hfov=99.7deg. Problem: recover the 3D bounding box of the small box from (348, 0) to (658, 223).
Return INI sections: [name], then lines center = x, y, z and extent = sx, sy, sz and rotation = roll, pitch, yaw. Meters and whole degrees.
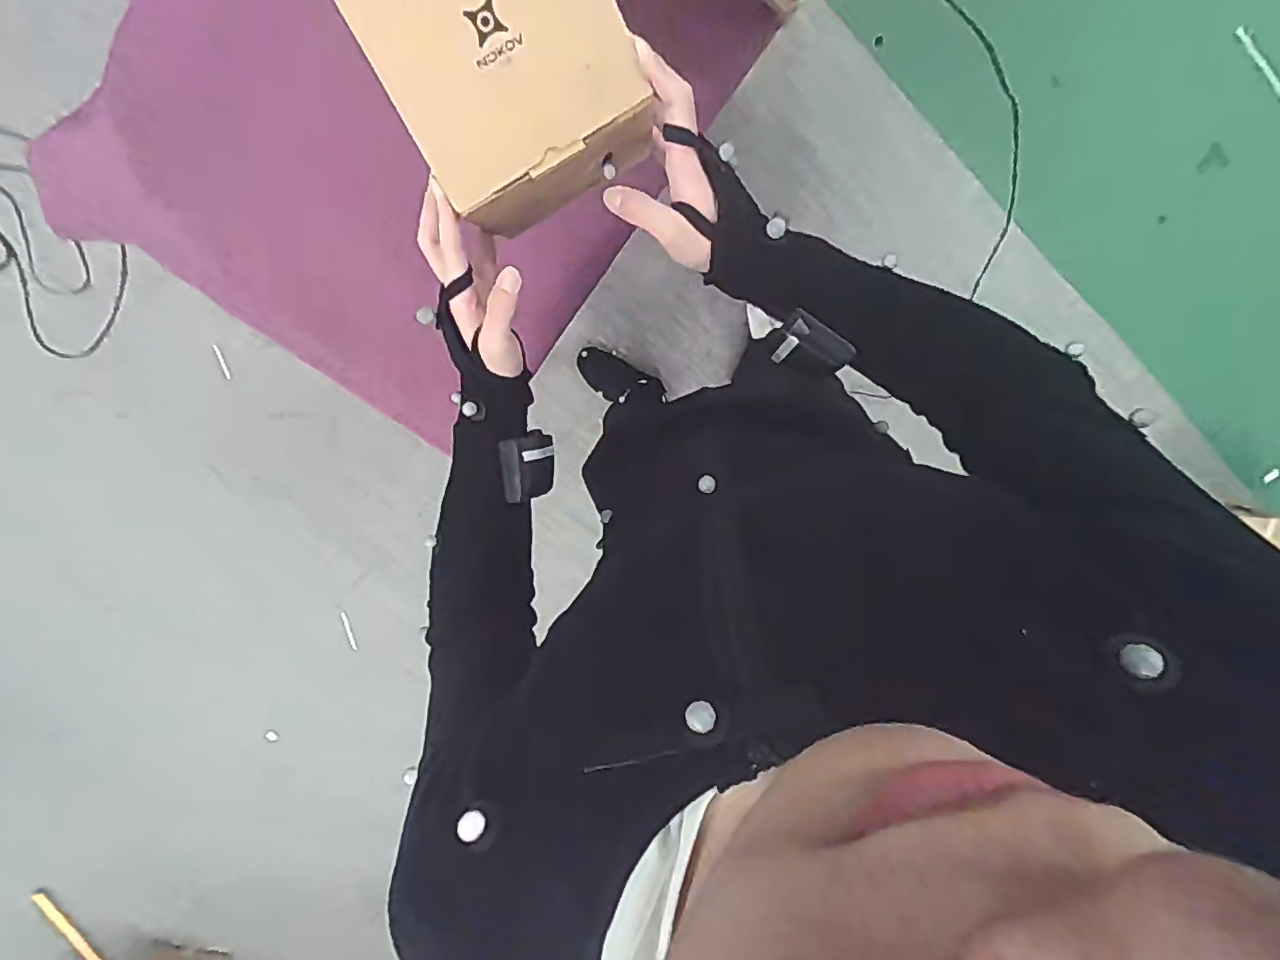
[small box]
center = -0.096, -0.329, 0.437
extent = 0.168, 0.176, 0.179
rotation = -26, 107, 7
